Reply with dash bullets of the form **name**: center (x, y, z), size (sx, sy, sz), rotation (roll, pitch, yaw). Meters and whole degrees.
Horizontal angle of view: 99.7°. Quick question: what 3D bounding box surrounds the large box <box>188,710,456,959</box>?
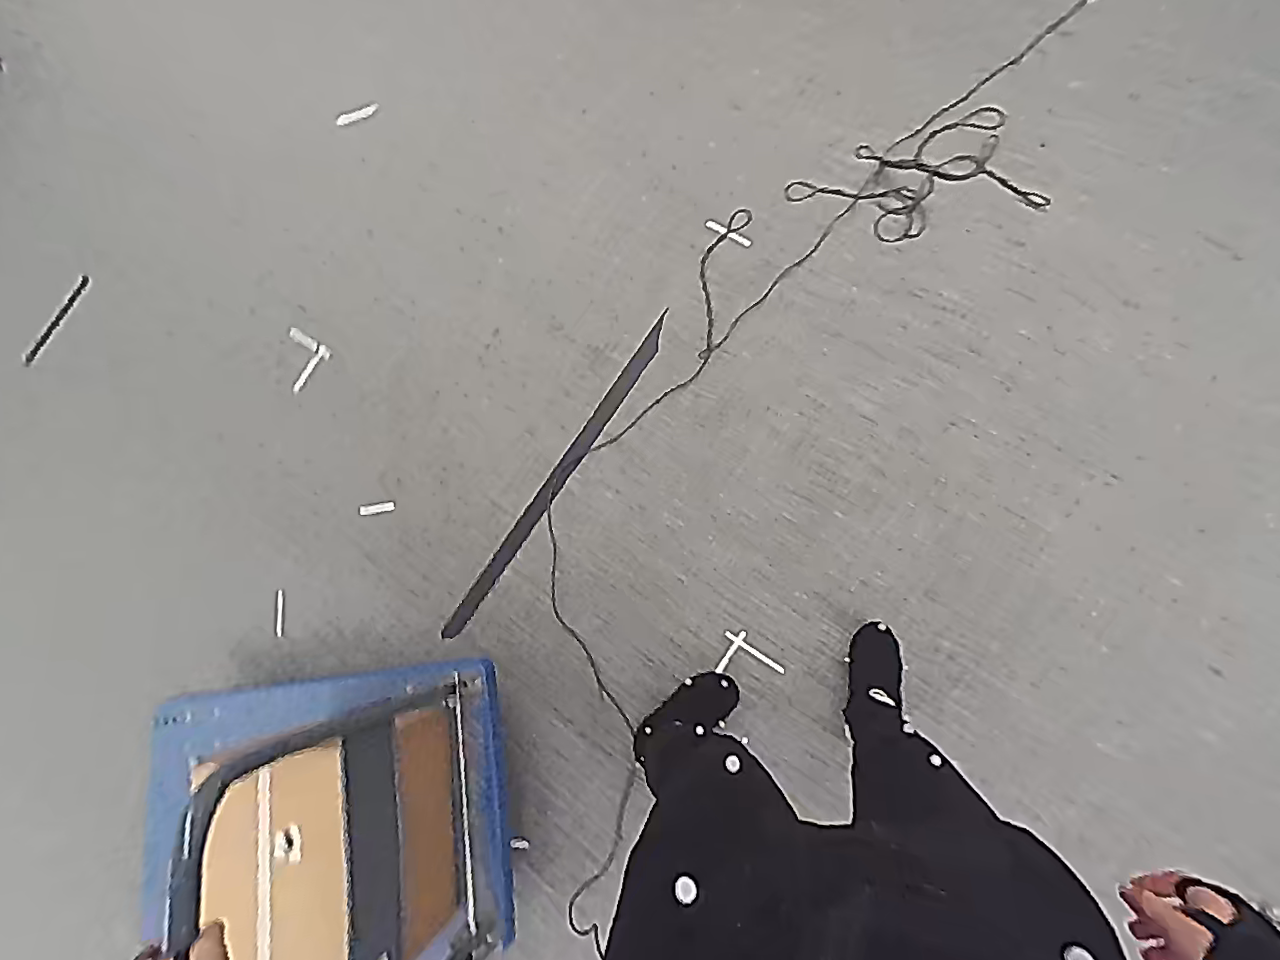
- **large box**: center (-0.571, 0.688, 1.017), size (0.320, 0.320, 0.408), rotation (-10, 77, 8)
